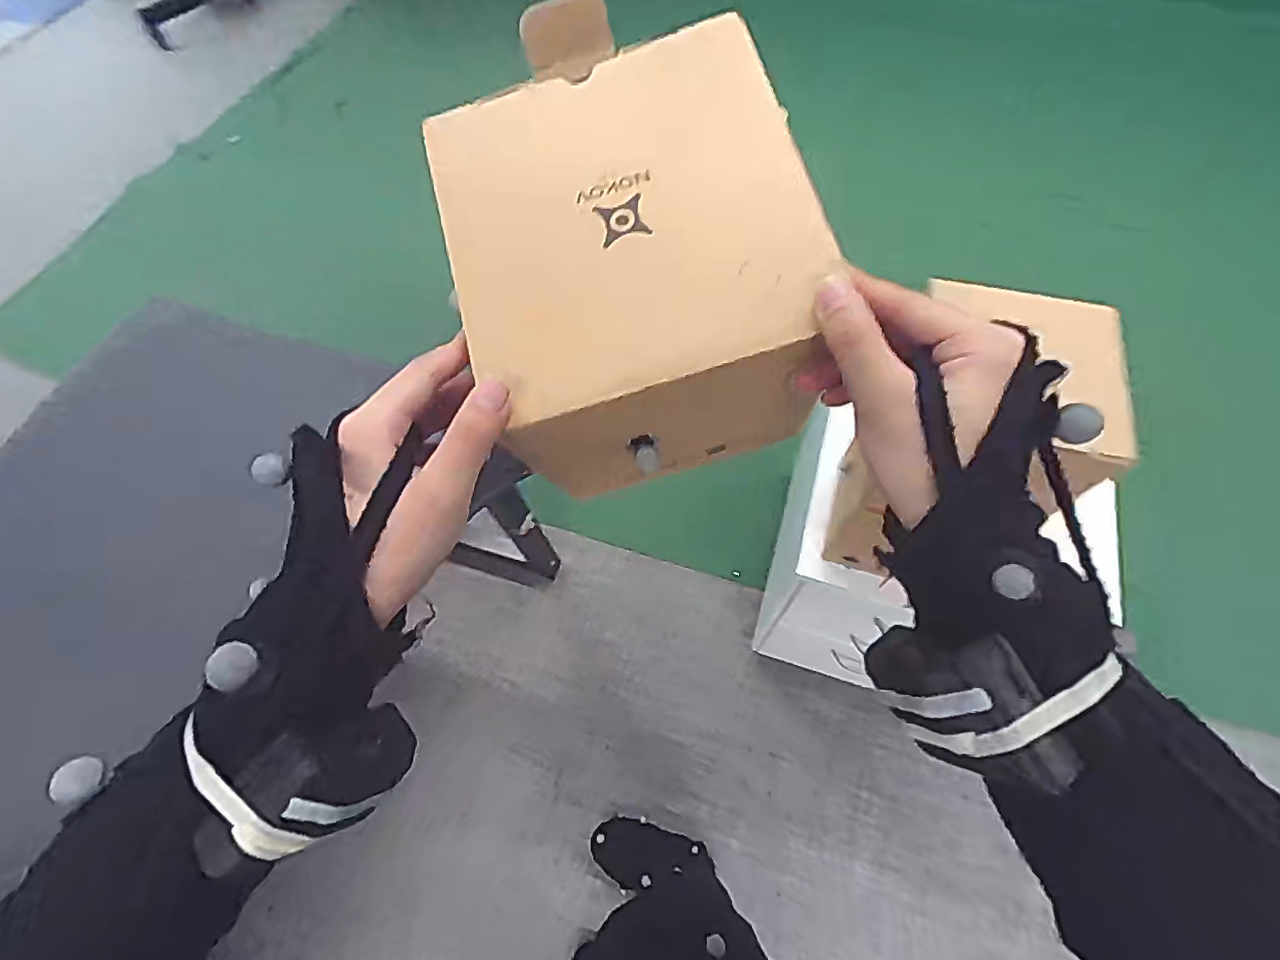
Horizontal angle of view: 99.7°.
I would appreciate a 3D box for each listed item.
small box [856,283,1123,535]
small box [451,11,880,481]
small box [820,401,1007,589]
[{"bbox_3d":[0.334,-0.064,0.552,0.168,0.176,0.179,14,63,8],"label":"small box"},{"bbox_3d":[0.013,-0.106,0.321,0.168,0.176,0.179,-15,75,4],"label":"small box"},{"bbox_3d":[0.341,0.020,0.691,0.168,0.176,0.179,16,63,11],"label":"small box"}]
